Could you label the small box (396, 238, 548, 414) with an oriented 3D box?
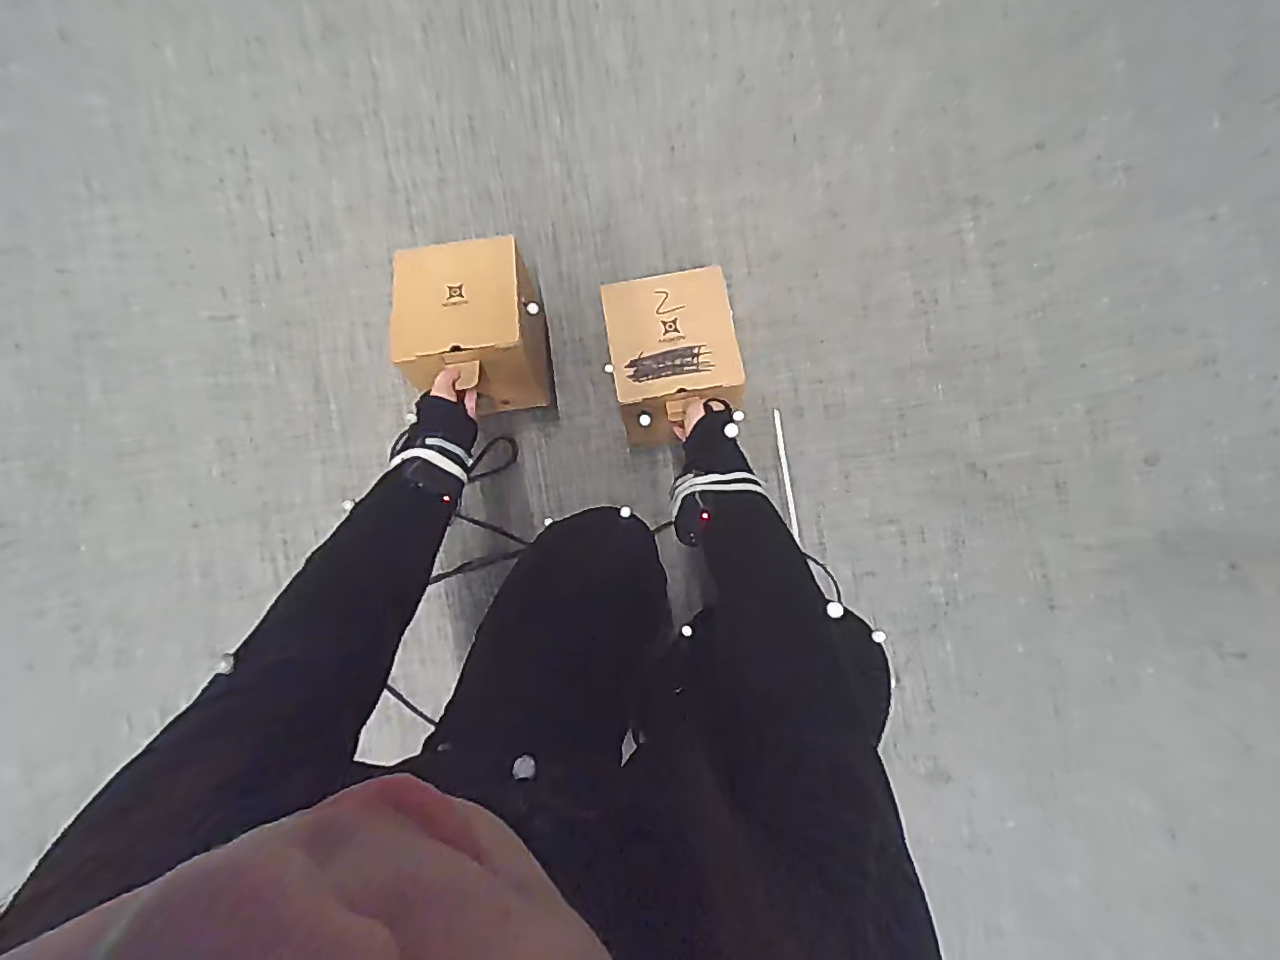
[{"bbox_3d":[-0.235,-0.216,0.788,0.168,0.176,0.179,-7,72,1],"label":"small box"}]
